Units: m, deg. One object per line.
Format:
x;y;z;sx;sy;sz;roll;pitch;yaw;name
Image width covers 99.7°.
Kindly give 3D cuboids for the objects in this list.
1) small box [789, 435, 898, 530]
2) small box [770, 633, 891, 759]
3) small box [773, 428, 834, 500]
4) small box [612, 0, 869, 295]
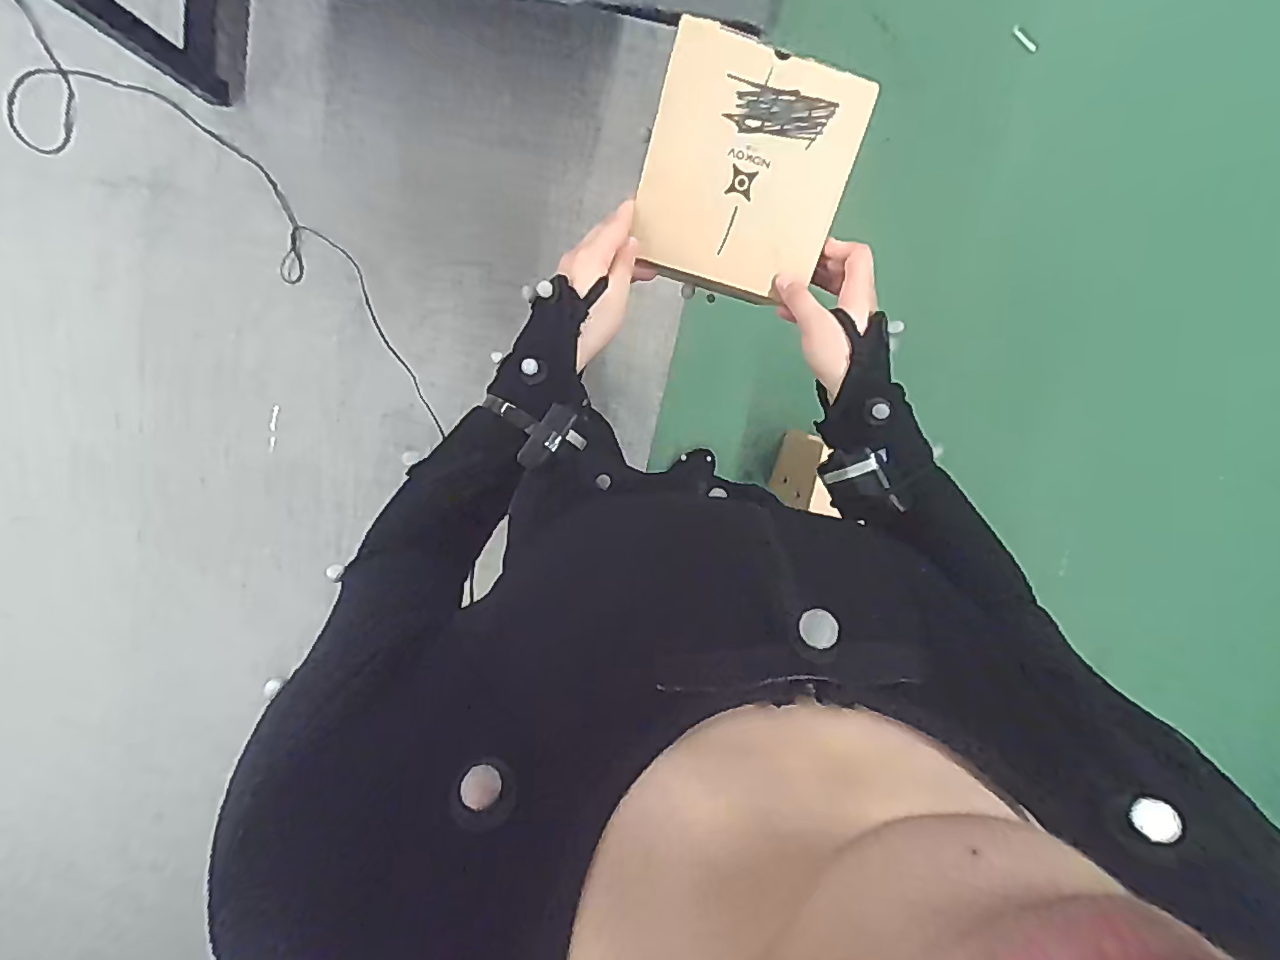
0.454;0.000;1.238;0.168;0.176;0.179;9;99;-4;small box
0.394;0.450;1.153;0.168;0.176;0.179;14;99;-4;small box
0.461;-0.026;1.399;0.168;0.176;0.179;17;99;-5;small box
0.074;-0.283;0.506;0.168;0.176;0.179;14;109;-5;small box
